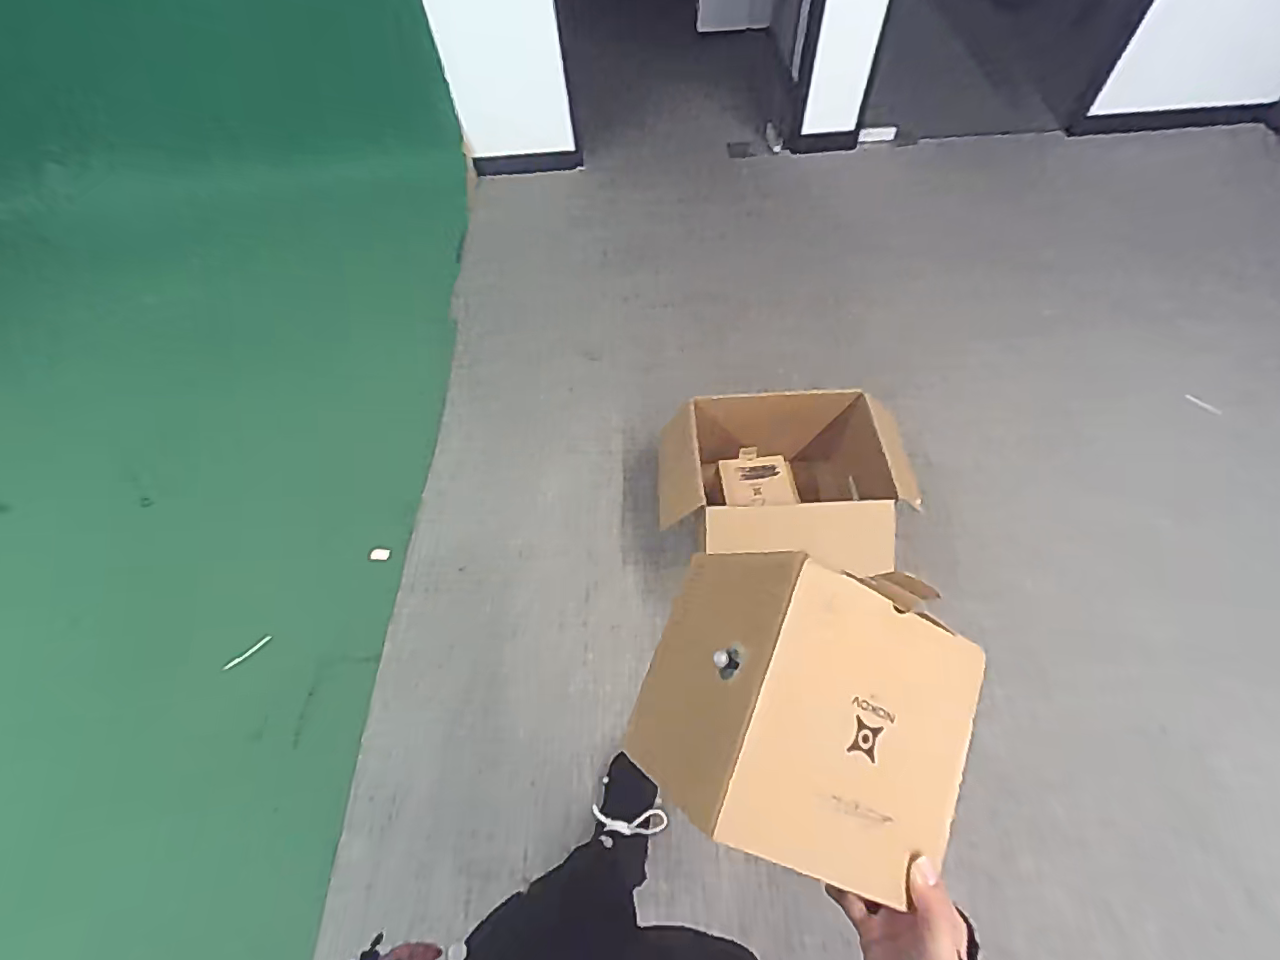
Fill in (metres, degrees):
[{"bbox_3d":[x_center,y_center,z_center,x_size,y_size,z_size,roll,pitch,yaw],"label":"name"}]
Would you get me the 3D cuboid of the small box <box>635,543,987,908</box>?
[{"bbox_3d":[0.117,0.165,0.416,0.168,0.176,0.179,31,72,-13],"label":"small box"}]
